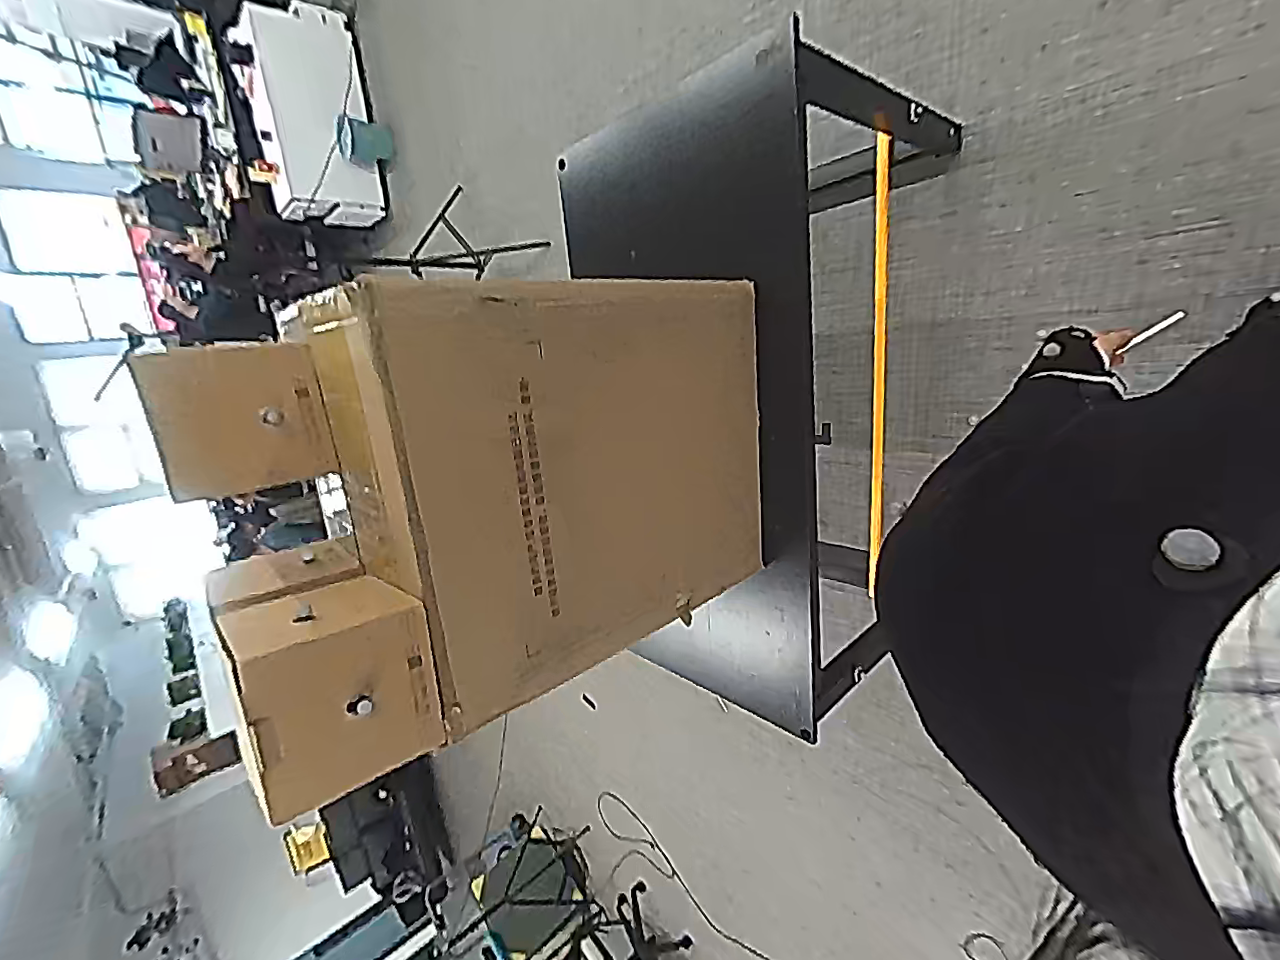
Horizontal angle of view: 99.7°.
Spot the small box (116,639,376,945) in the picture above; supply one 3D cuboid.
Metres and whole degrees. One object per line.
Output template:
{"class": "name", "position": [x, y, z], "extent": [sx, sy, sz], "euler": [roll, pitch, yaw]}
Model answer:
{"class": "small box", "position": [-0.378, 0.276, 0.533], "extent": [0.179, 0.176, 0.168], "euler": [2, 102, 46]}

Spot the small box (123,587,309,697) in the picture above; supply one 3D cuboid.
{"class": "small box", "position": [-0.514, 0.260, 0.686], "extent": [0.168, 0.176, 0.179], "euler": [11, 111, 48]}

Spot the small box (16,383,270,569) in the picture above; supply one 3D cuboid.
{"class": "small box", "position": [-0.551, -0.018, 0.625], "extent": [0.179, 0.176, 0.168], "euler": [9, 112, 49]}
